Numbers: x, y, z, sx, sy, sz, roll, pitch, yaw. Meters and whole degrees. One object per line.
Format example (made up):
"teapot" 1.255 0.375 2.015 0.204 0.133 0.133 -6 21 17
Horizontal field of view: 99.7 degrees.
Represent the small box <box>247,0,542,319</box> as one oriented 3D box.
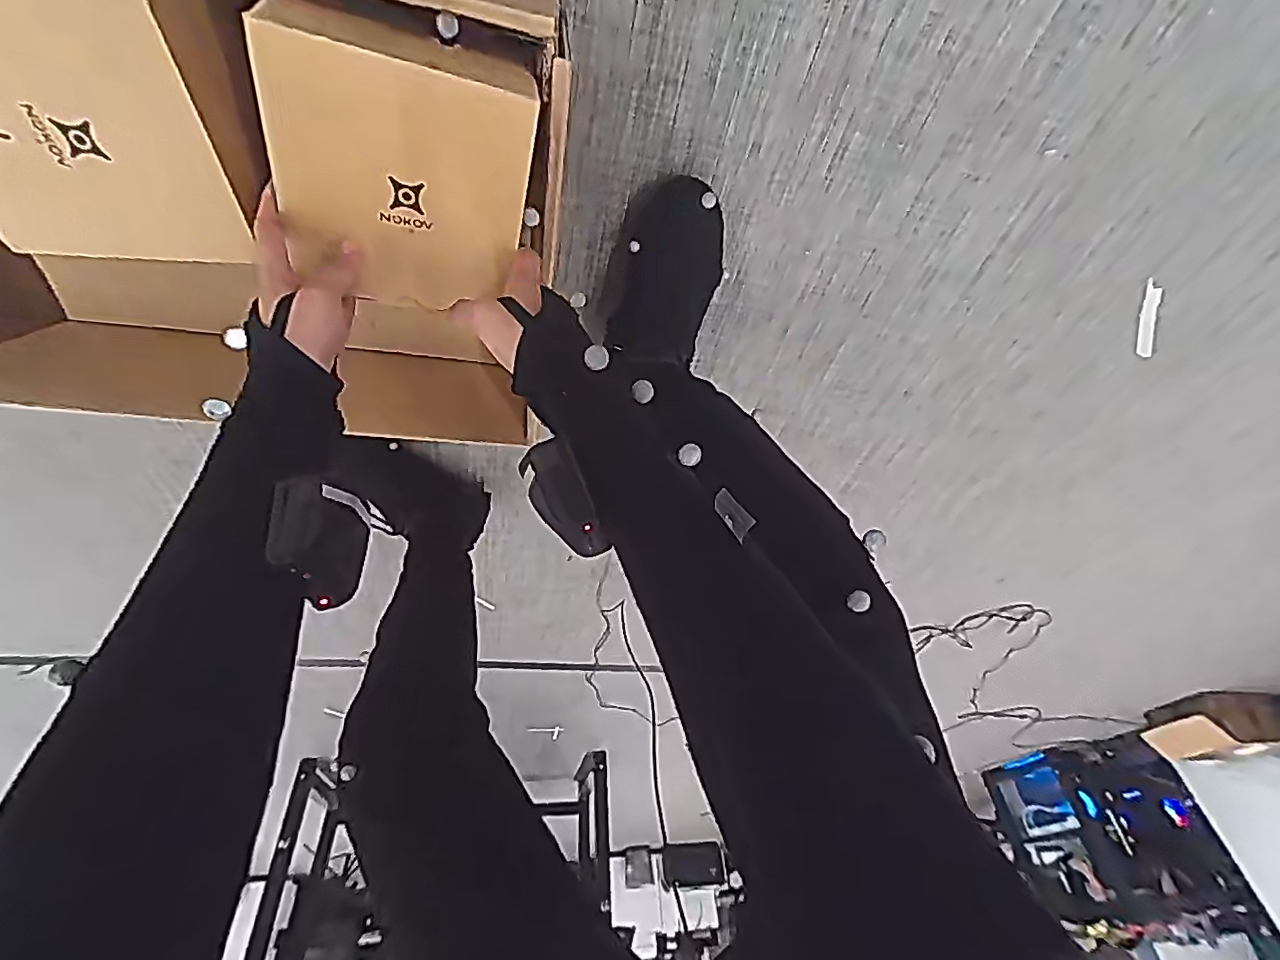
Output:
"small box" -0.180 -0.259 0.428 0.168 0.176 0.179 2 141 -21
